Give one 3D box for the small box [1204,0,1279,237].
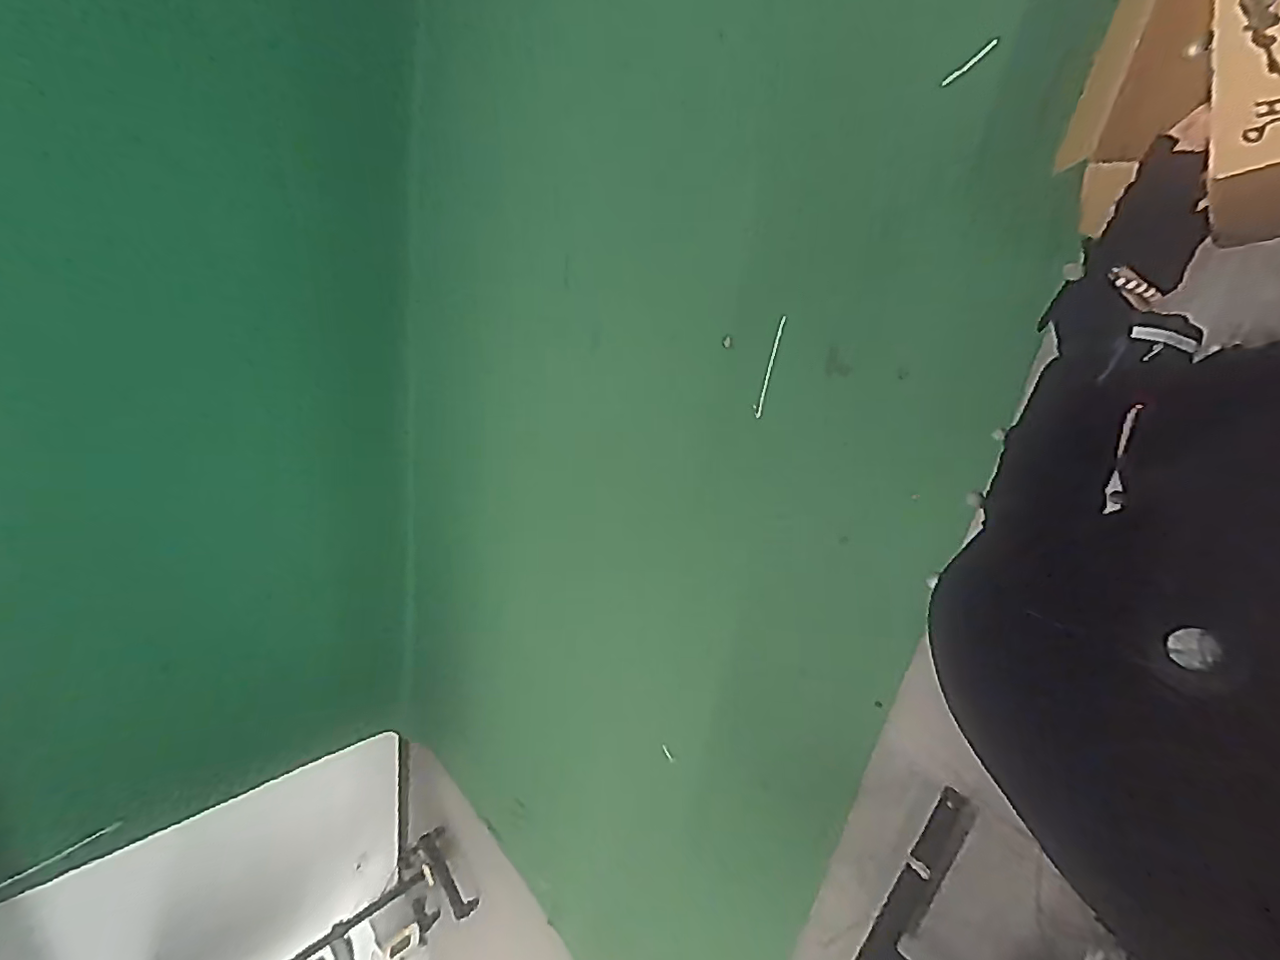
[{"bbox_3d":[0.491,-0.281,0.345,0.179,0.176,0.168,3,92,47],"label":"small box"}]
